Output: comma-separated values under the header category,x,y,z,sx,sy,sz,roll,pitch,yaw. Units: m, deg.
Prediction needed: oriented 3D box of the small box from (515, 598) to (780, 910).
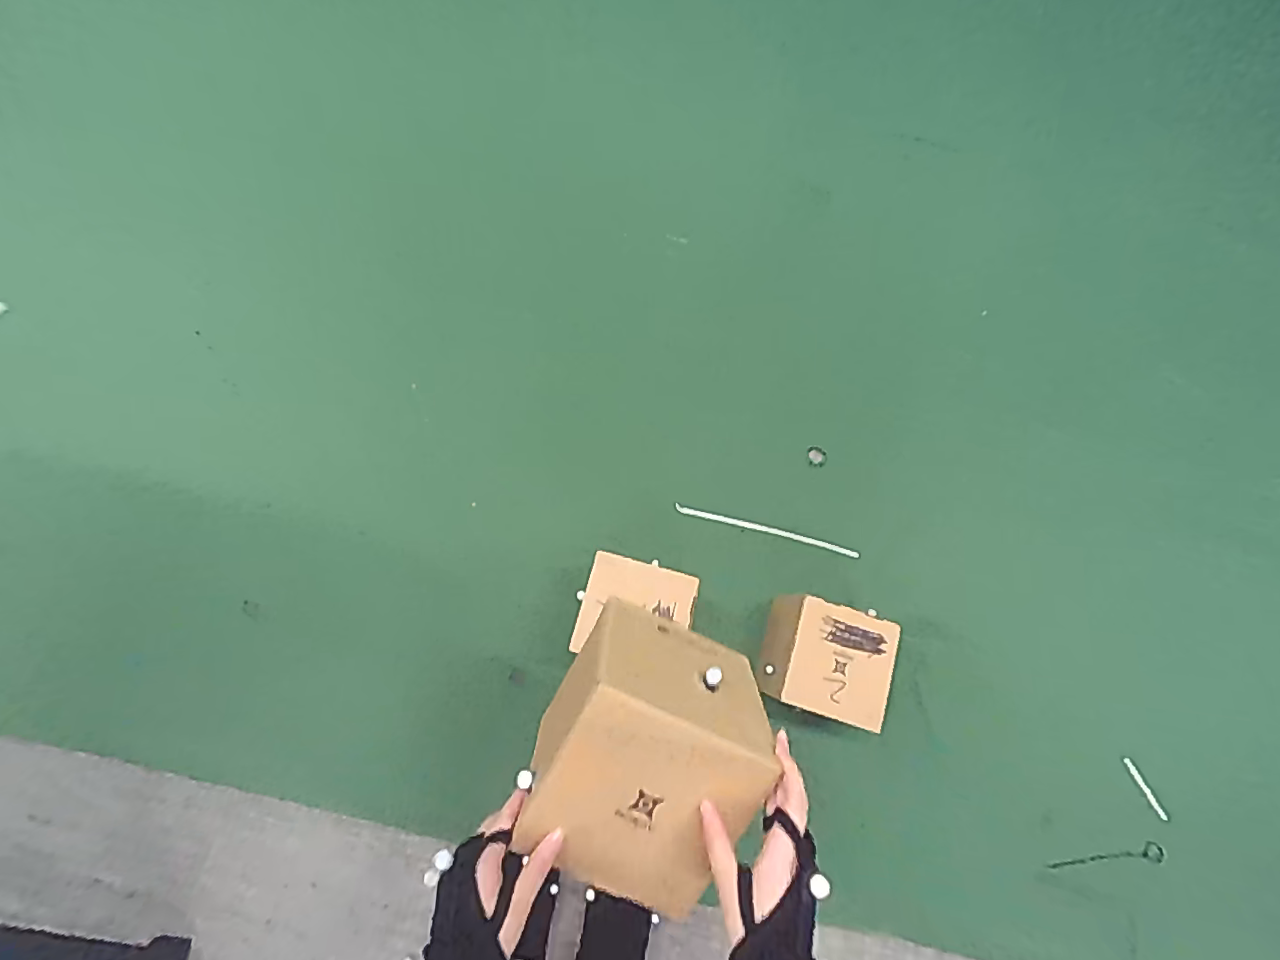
category,x,y,z,sx,sy,sz,roll,pitch,yaw
small box,0.004,0.244,0.520,0.168,0.176,0.179,27,103,-5

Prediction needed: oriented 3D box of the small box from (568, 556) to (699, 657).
category,x,y,z,sx,sy,sz,roll,pitch,yaw
small box,-0.013,0.239,0.936,0.179,0.176,0.168,16,75,1
